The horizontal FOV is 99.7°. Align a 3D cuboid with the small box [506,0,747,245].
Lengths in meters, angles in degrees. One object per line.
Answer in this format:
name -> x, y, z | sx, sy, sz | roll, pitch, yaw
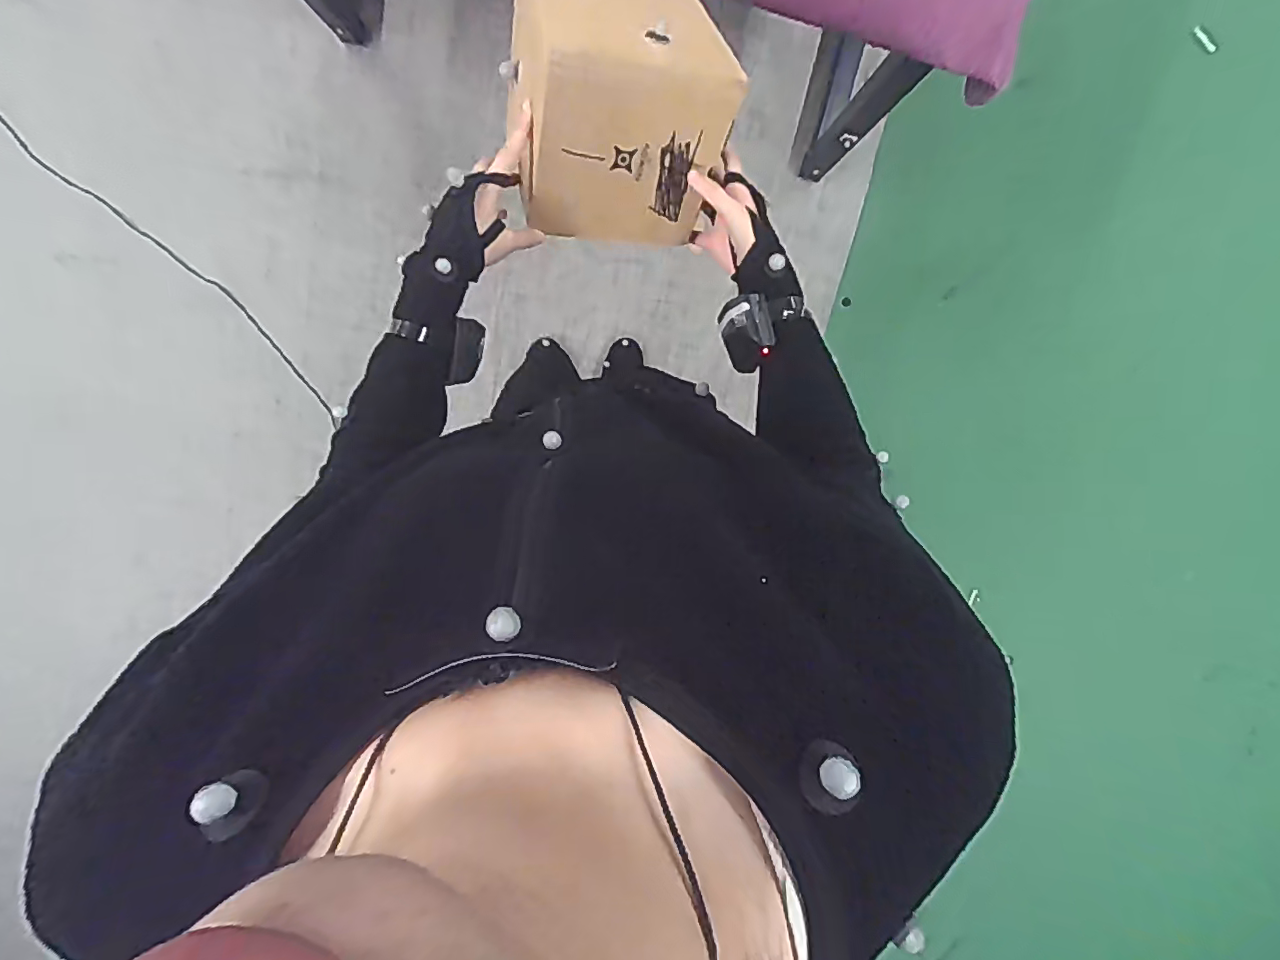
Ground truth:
small box -> -0.028, -0.360, 0.530 | 0.179, 0.168, 0.176 | -4, 61, -20
